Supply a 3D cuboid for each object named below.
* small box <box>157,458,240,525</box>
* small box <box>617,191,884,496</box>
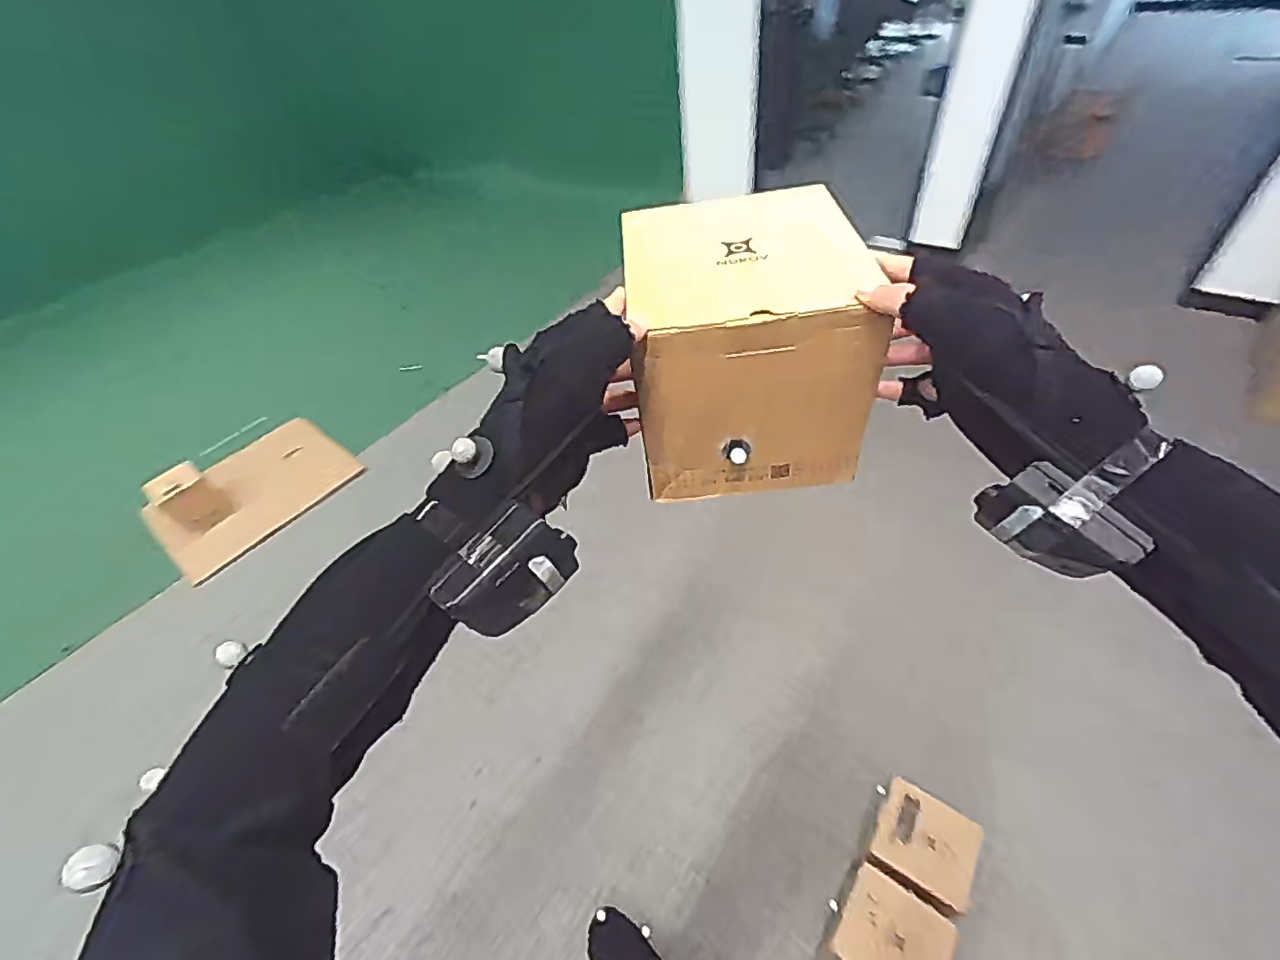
[{"bbox_3d":[-1.715,0.052,2.108,0.179,0.176,0.168,29,58,32],"label":"small box"},{"bbox_3d":[0.072,-0.110,0.446,0.168,0.176,0.179,-6,49,3],"label":"small box"}]
